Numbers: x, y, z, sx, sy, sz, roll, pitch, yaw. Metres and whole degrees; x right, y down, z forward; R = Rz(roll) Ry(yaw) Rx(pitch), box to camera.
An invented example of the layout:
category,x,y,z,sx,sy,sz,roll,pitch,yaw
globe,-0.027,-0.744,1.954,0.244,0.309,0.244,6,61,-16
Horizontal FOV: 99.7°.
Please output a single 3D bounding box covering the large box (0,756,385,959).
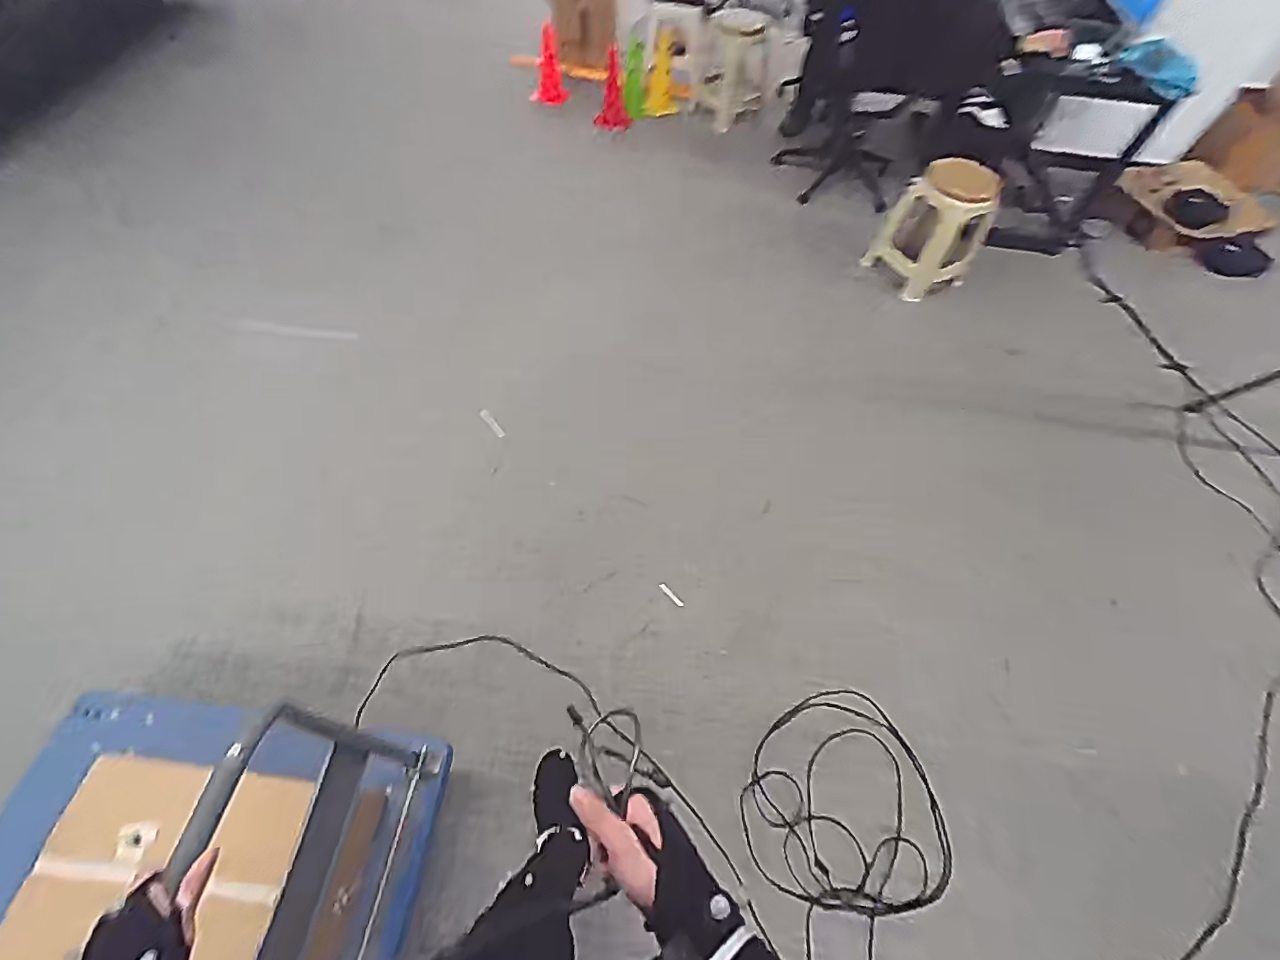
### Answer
category,x,y,z,sx,sy,sz,roll,pitch,yaw
large box,-0.753,0.704,0.977,0.408,0.320,0.320,7,58,1
